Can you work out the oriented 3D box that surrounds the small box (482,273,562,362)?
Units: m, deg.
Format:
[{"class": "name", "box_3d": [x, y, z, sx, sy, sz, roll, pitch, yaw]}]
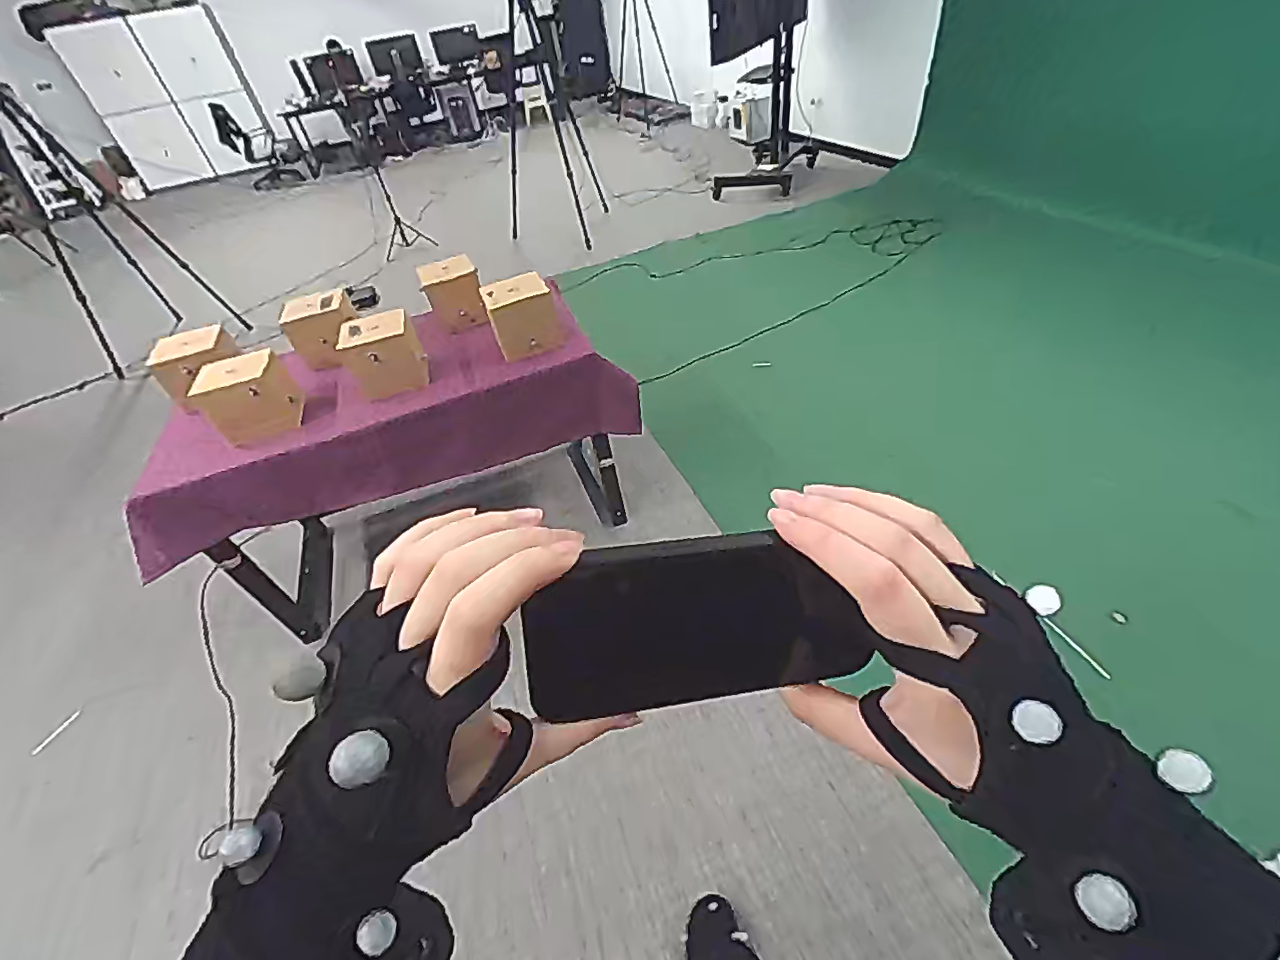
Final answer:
[{"class": "small box", "box_3d": [-0.334, -0.467, 1.559, 0.179, 0.176, 0.168, -21, 44, -11]}]

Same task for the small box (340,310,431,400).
[{"class": "small box", "box_3d": [-0.702, -0.346, 1.506, 0.179, 0.176, 0.168, -17, 44, -8]}]

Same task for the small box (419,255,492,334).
[{"class": "small box", "box_3d": [-0.593, -0.598, 1.747, 0.168, 0.176, 0.179, -22, 45, -12]}]

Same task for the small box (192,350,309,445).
[{"class": "small box", "box_3d": [-1.022, -0.216, 1.435, 0.179, 0.176, 0.168, -19, 44, -10]}]
